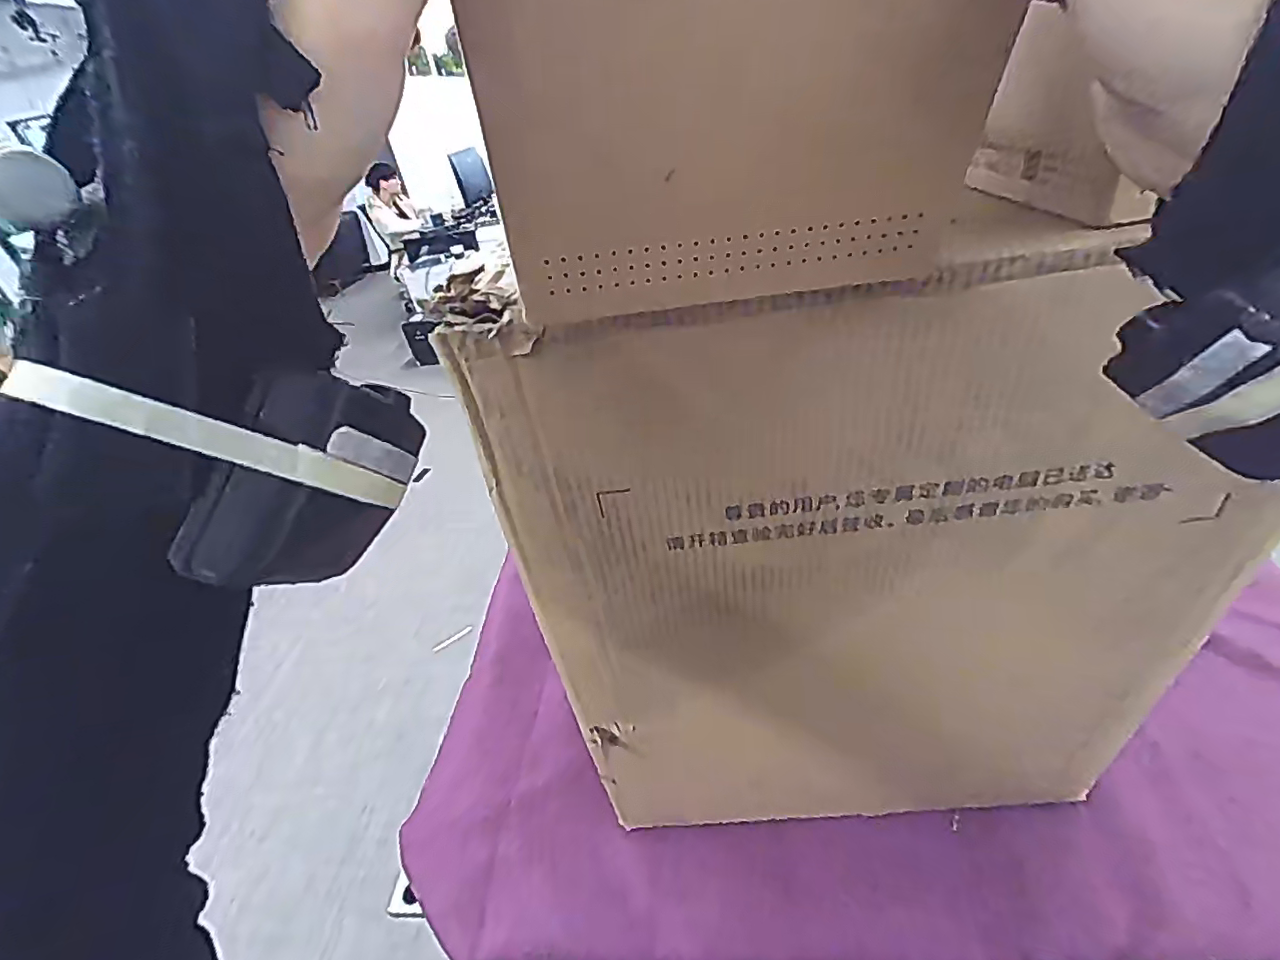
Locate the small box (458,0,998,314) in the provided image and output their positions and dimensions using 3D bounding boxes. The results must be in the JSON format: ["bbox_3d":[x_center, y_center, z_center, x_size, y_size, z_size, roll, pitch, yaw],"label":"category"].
[{"bbox_3d":[0.023,-0.185,0.221,0.179,0.176,0.168,-9,49,-3],"label":"small box"}]
